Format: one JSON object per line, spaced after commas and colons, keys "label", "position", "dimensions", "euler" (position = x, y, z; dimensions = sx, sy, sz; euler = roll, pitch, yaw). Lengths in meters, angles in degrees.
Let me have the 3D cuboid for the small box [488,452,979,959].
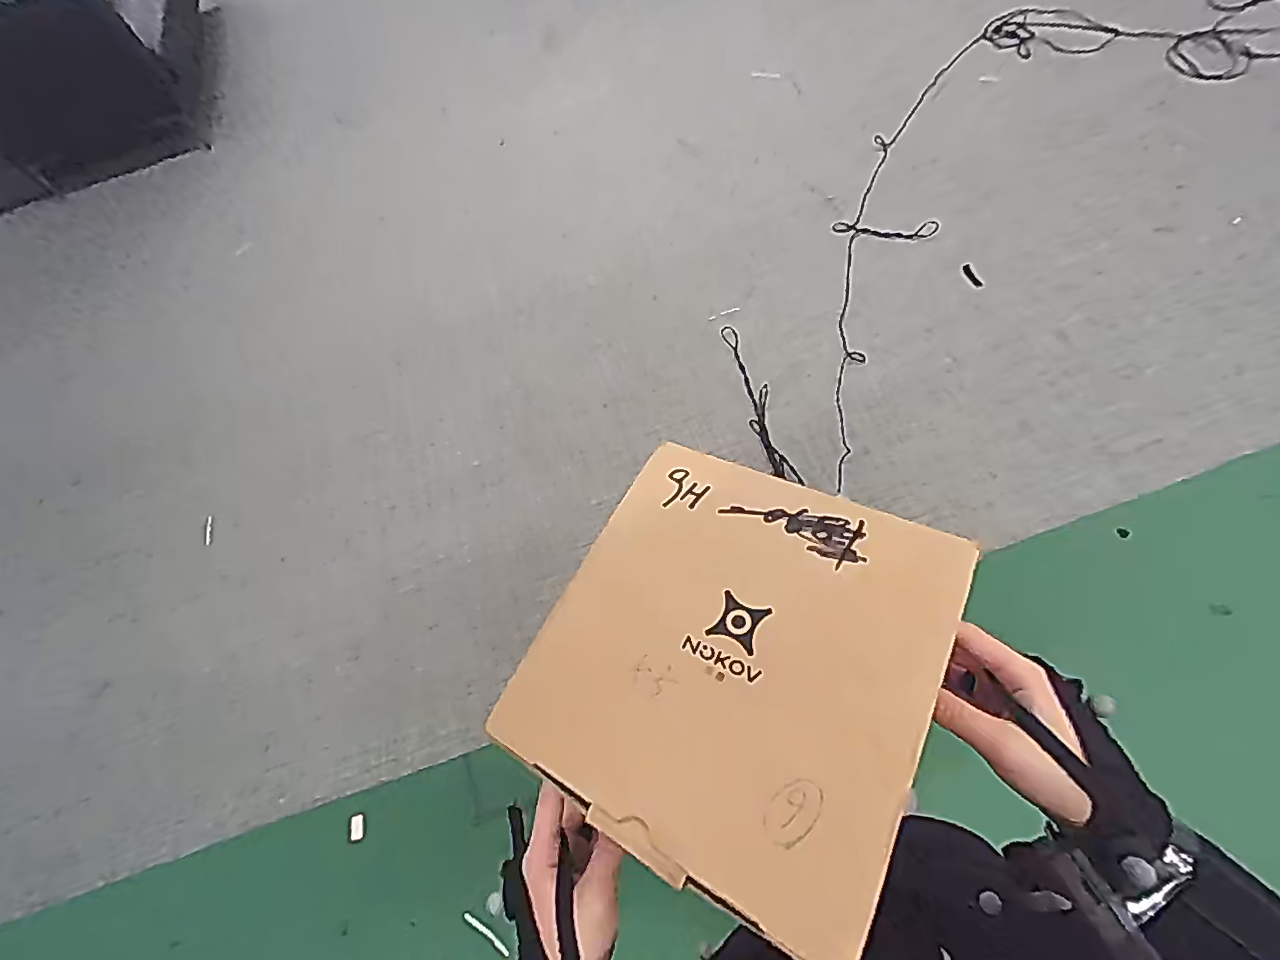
{"label": "small box", "position": [0.058, 0.119, 0.304], "dimensions": [0.168, 0.176, 0.179], "euler": [21, 65, 27]}
